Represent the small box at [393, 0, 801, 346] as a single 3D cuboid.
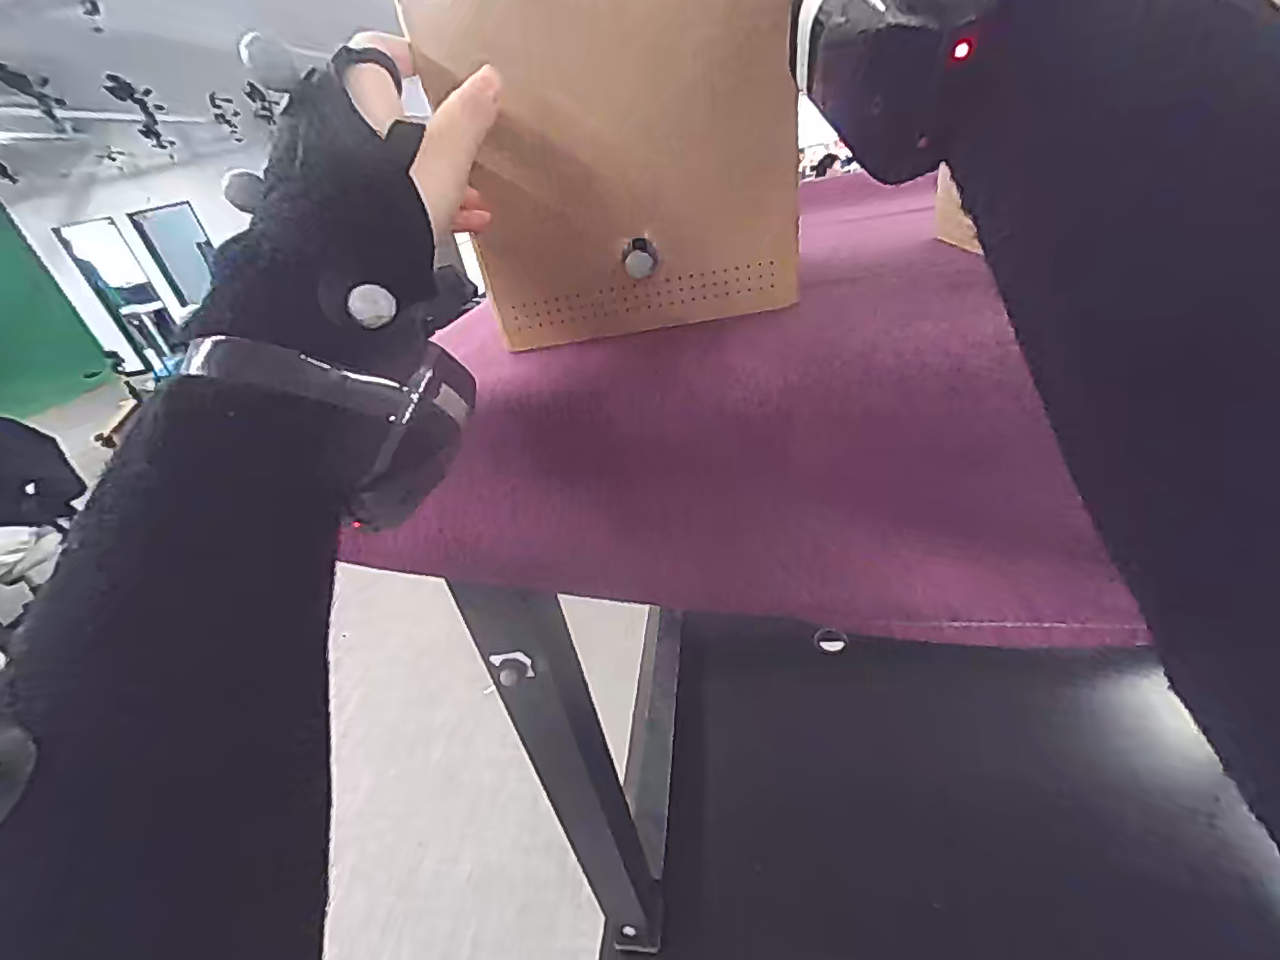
[{"bbox_3d":[-0.011,-0.195,0.327,0.179,0.176,0.168,-8,31,3],"label":"small box"}]
